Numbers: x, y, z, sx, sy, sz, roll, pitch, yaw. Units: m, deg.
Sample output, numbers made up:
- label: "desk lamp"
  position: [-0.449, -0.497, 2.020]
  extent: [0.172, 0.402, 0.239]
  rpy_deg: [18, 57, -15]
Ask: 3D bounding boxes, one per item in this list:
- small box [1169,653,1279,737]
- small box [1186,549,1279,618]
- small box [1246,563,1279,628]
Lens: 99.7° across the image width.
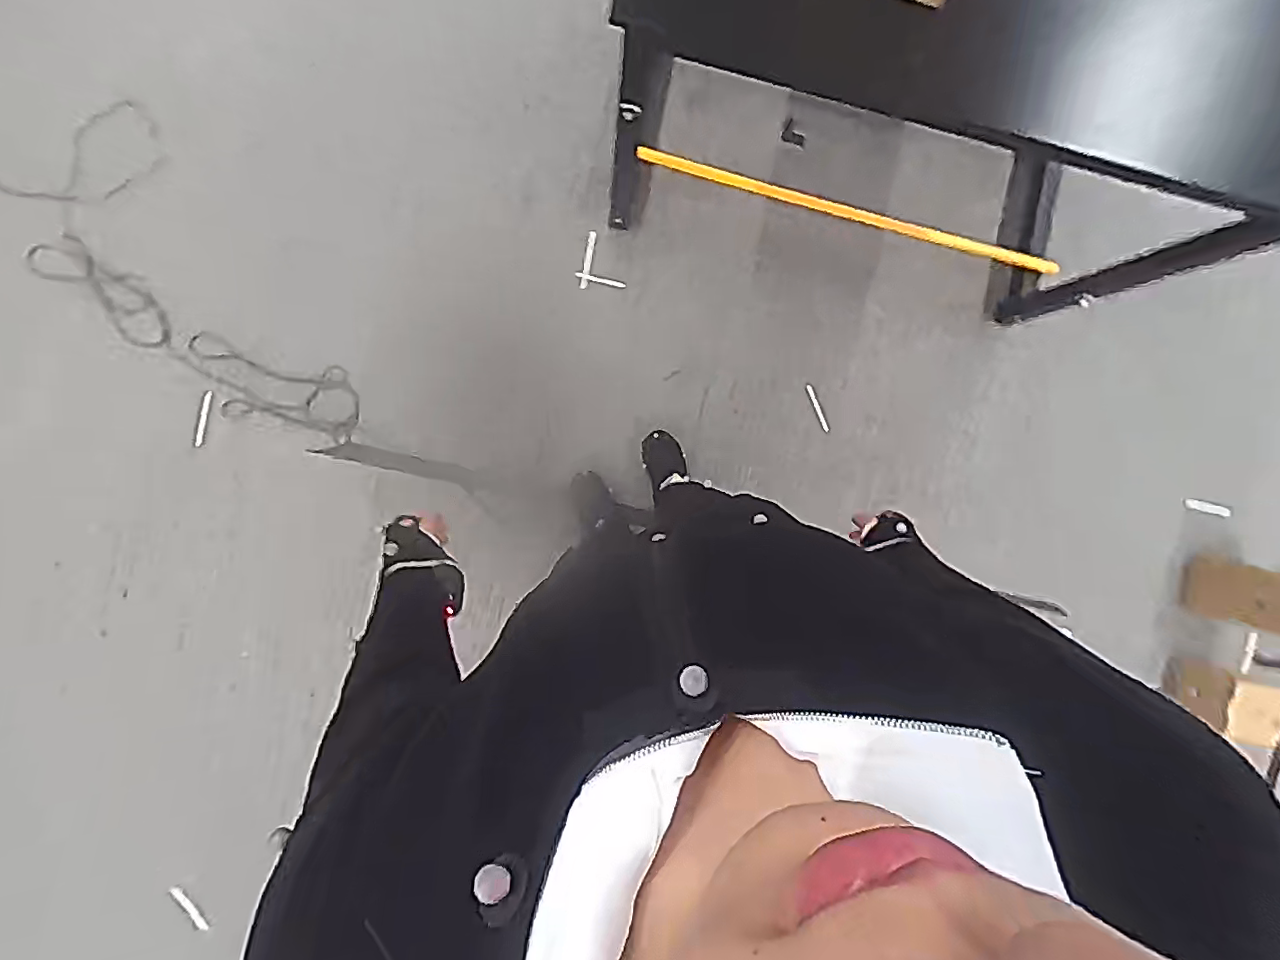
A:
- label: "small box"
  position: [1.731, 0.626, 1.594]
  extent: [0.179, 0.176, 0.168]
  rpy_deg: [12, 92, -4]
- label: "small box"
  position: [1.762, 0.307, 1.574]
  extent: [0.168, 0.176, 0.179]
  rpy_deg: [10, 93, -5]
- label: "small box"
  position: [1.771, 0.320, 1.413]
  extent: [0.179, 0.176, 0.168]
  rpy_deg: [8, 91, -4]
